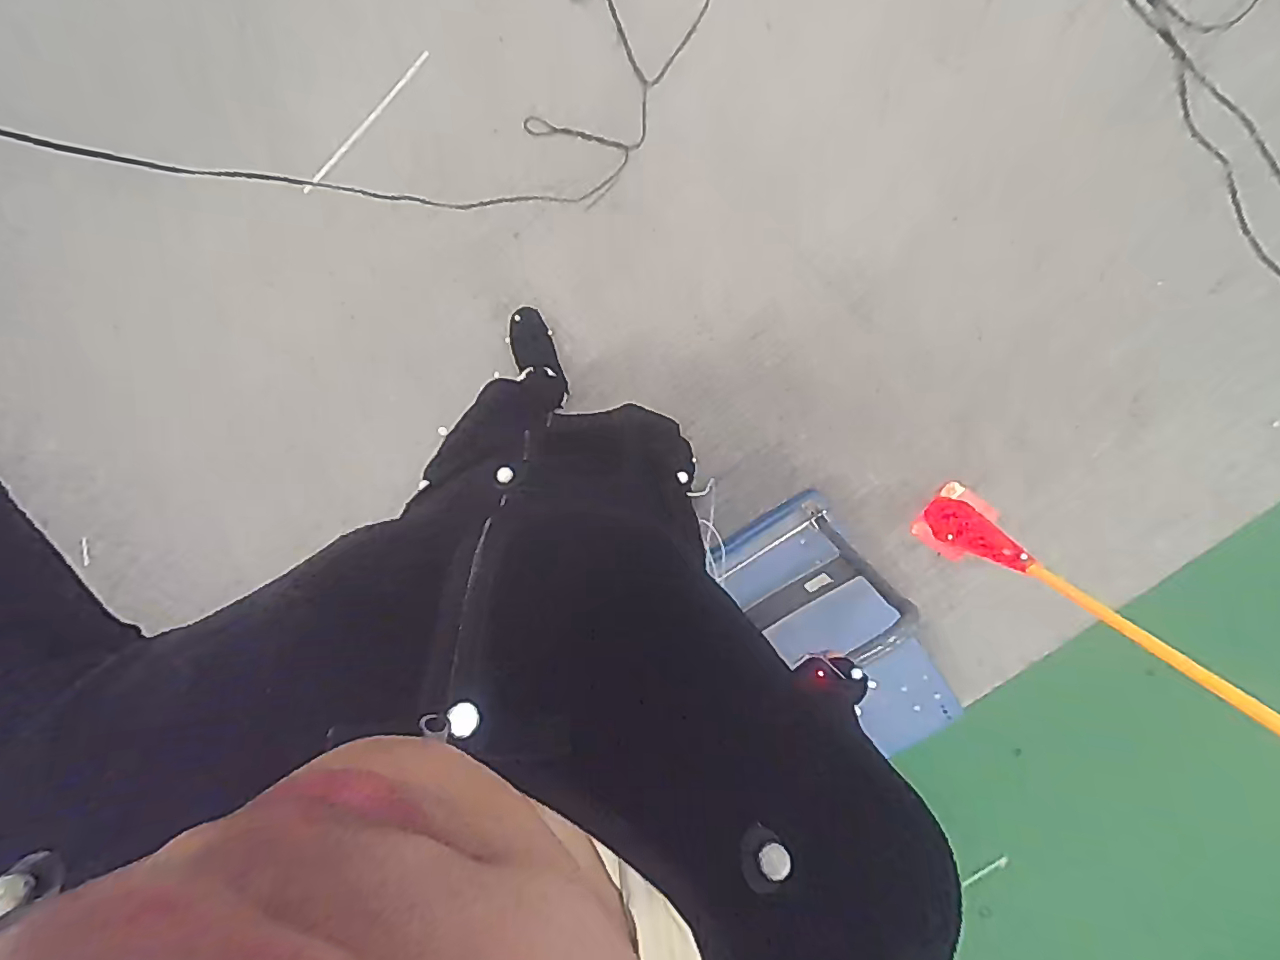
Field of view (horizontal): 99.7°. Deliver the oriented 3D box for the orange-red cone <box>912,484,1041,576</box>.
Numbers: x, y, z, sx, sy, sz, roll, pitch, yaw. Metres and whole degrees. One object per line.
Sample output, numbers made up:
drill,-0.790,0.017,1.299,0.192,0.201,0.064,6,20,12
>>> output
orange-red cone,0.963,0.173,1.494,0.198,0.360,0.199,34,101,-9
